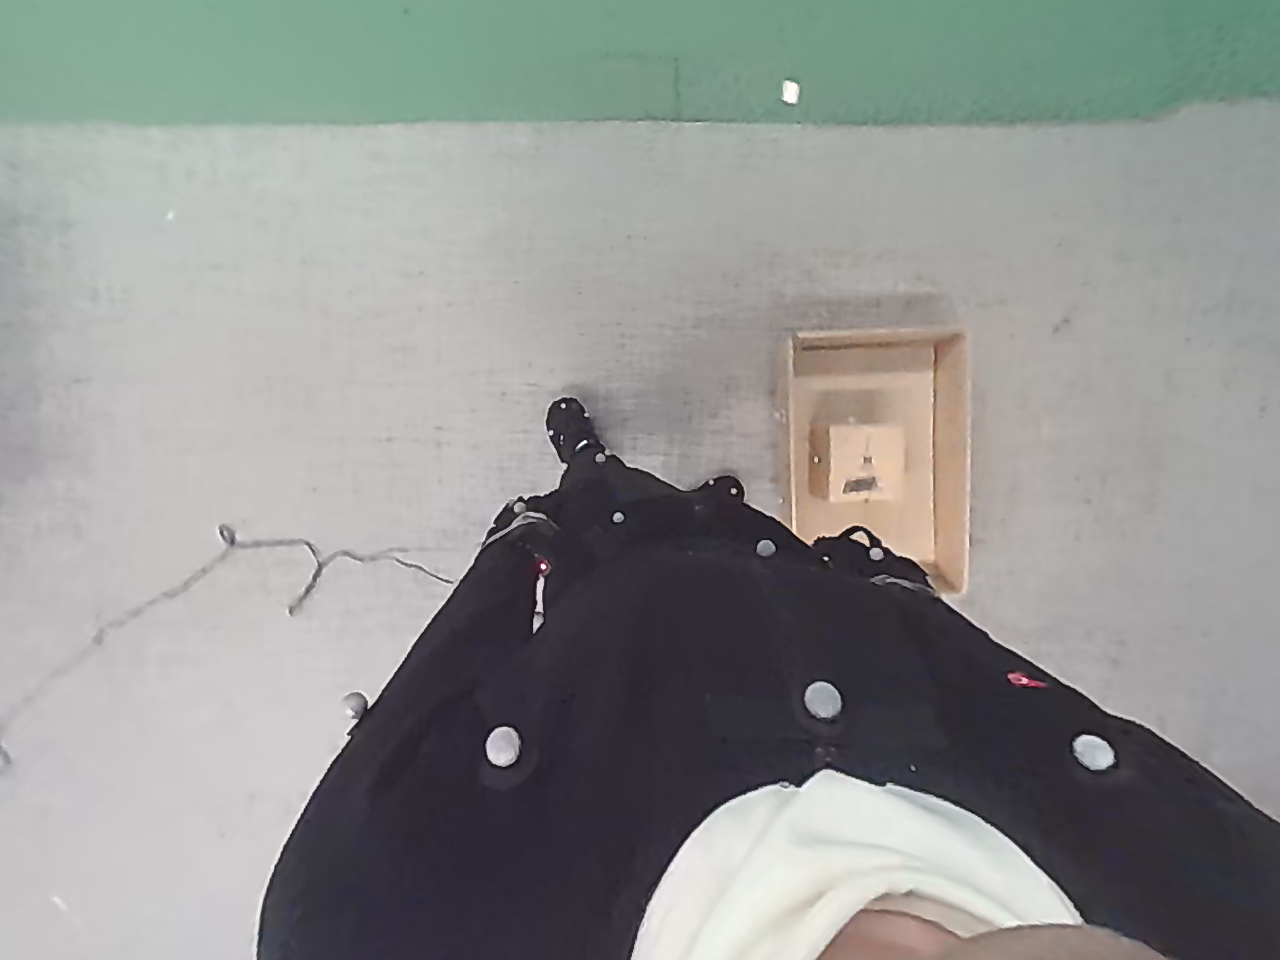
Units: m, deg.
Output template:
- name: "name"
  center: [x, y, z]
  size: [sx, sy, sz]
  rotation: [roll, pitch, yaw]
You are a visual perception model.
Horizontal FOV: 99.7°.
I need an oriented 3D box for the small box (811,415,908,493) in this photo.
- name: "small box"
  center: [0.513, -0.066, 1.285]
  size: [0.168, 0.176, 0.179]
  rotation: [0, 95, 2]
